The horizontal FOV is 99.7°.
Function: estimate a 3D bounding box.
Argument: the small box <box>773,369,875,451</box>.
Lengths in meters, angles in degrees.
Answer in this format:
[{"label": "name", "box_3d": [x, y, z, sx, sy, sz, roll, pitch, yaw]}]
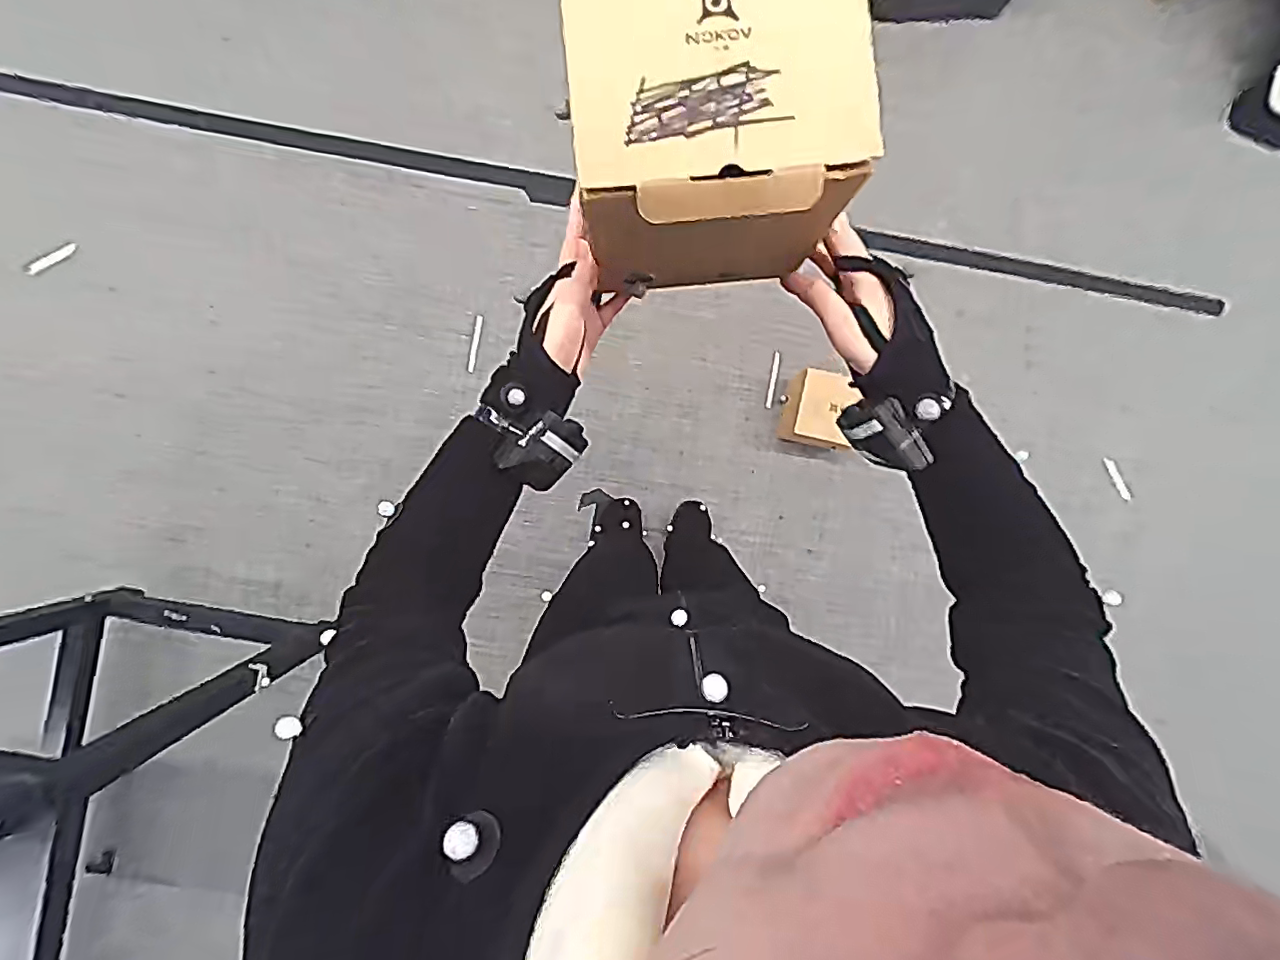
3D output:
[{"label": "small box", "box_3d": [0.464, -0.174, 1.387, 0.179, 0.176, 0.168, 13, 90, -3]}]

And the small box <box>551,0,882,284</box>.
[{"label": "small box", "box_3d": [0.037, -0.241, 0.357, 0.168, 0.176, 0.179, -6, 91, 0]}]
